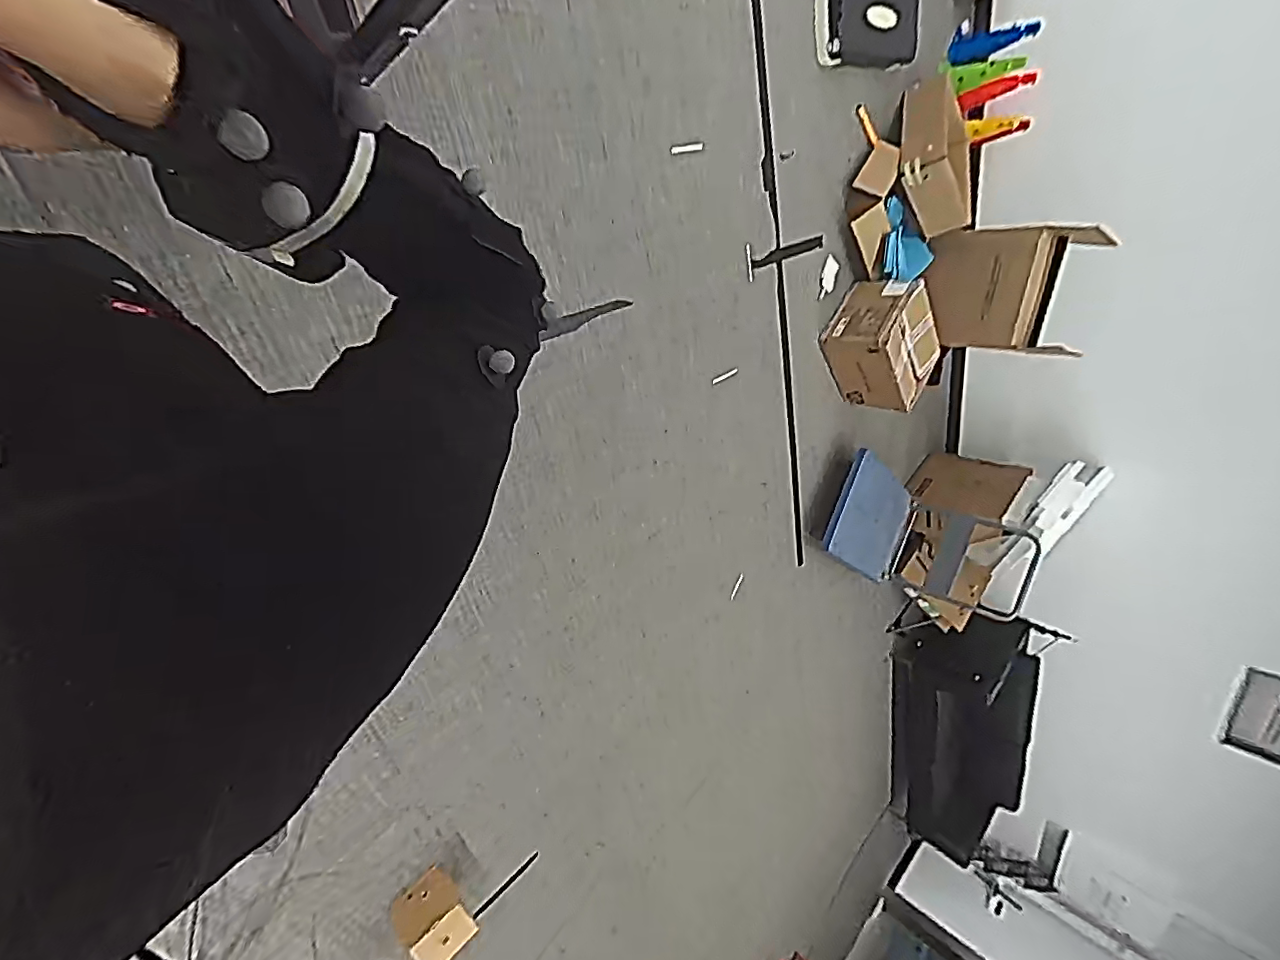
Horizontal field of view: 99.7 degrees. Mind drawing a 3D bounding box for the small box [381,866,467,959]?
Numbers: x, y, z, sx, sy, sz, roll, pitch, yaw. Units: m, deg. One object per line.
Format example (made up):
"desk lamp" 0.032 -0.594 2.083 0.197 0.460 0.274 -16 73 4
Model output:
"small box" -0.675 1.366 1.690 0.168 0.176 0.179 -34 124 -31
